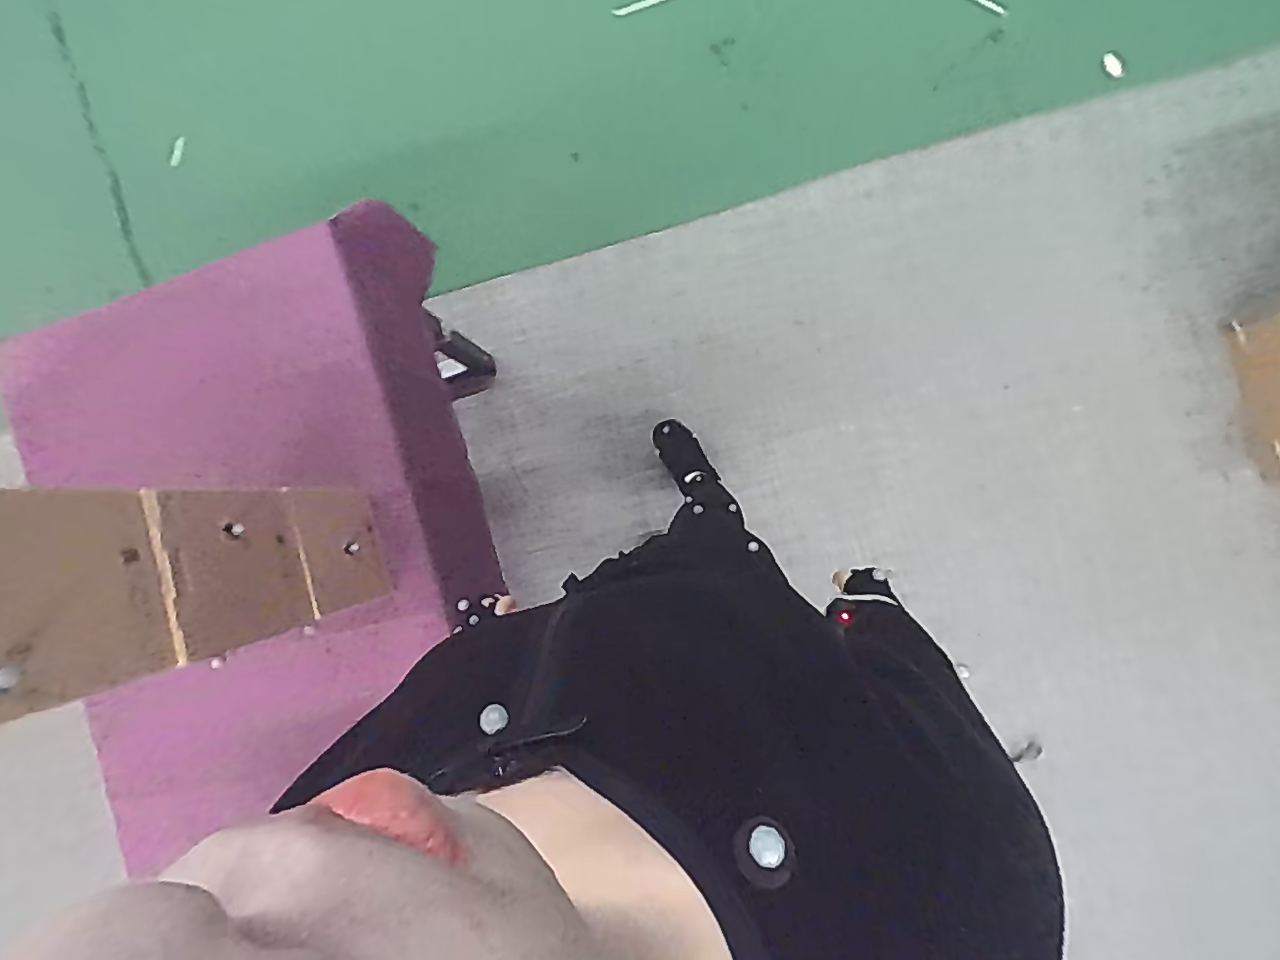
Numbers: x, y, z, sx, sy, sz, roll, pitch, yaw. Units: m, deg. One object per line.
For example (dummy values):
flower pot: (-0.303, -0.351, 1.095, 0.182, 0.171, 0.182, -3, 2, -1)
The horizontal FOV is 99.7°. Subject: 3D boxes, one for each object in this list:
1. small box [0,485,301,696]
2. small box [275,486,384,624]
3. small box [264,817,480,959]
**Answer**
small box: (-0.497, 0.104, 0.575, 0.179, 0.176, 0.168, -15, 86, 6)
small box: (-0.477, 0.109, 0.737, 0.179, 0.176, 0.168, -17, 86, 5)
small box: (-0.333, 0.590, 0.706, 0.168, 0.176, 0.179, -20, 85, 5)
